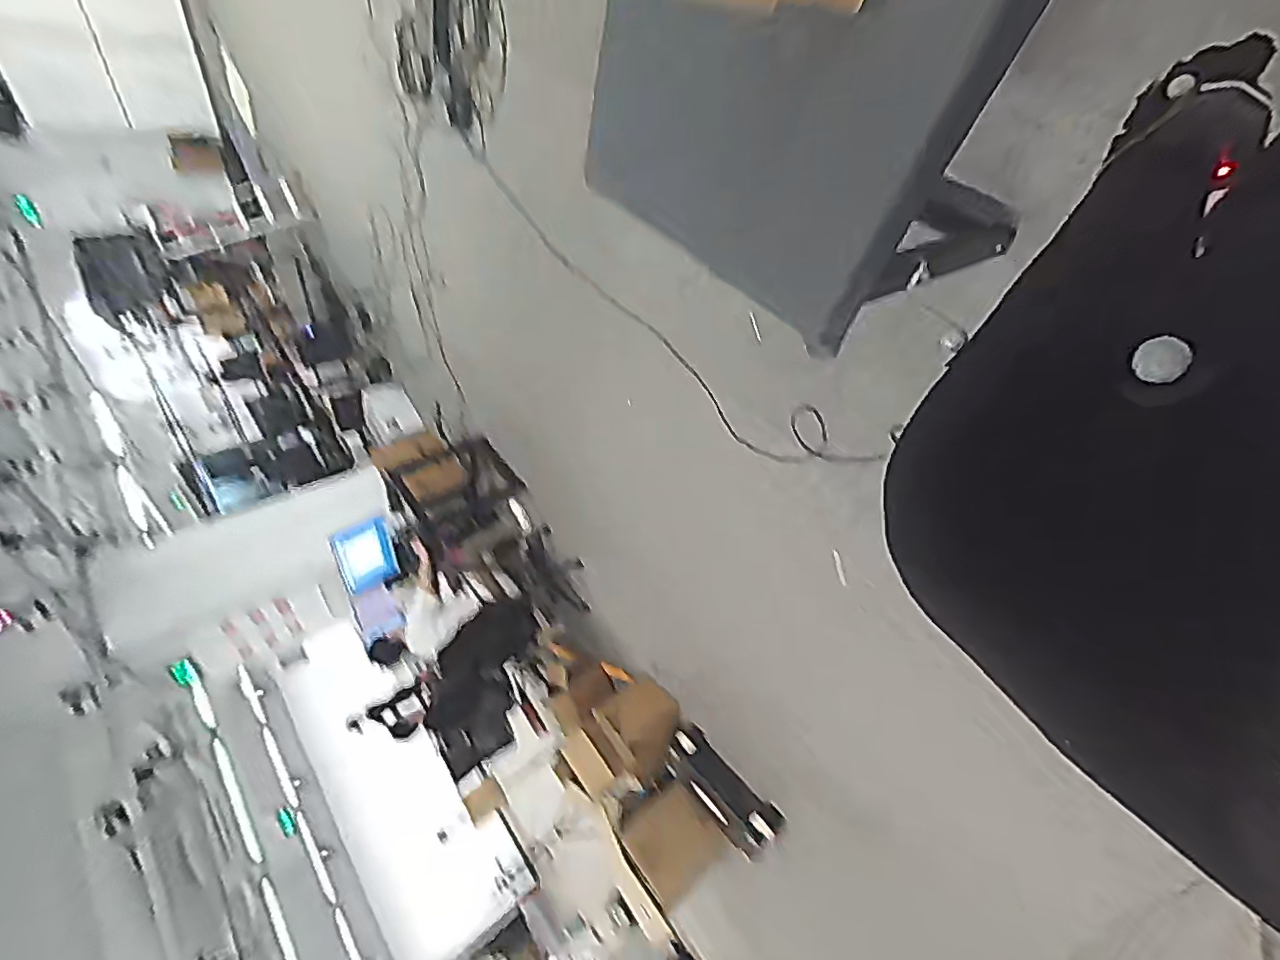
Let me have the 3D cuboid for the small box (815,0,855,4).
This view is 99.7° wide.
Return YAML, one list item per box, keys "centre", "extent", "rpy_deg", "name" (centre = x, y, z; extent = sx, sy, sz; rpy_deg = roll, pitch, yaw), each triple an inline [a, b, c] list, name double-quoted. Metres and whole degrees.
- centre: [0.164, -0.622, 0.547]
  extent: [0.168, 0.176, 0.179]
  rpy_deg: [50, 145, 21]
  name: "small box"
